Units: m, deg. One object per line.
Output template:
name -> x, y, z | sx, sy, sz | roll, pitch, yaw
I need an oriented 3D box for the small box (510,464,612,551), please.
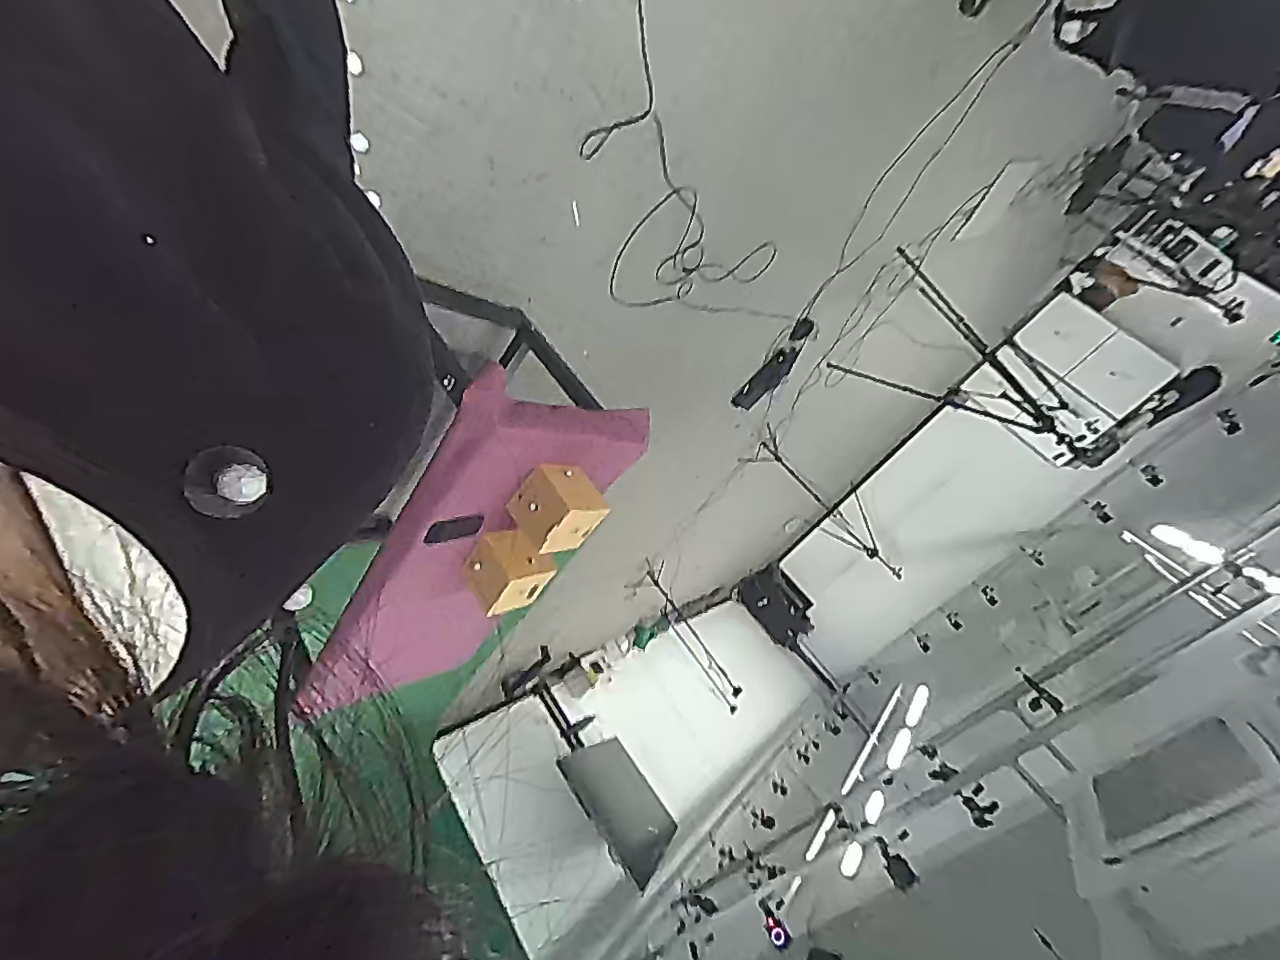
small box -> -0.218, 0.073, 1.467 | 0.168, 0.176, 0.179 | -49, 154, 22

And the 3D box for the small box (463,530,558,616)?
small box -> -0.379, 0.261, 1.571 | 0.179, 0.176, 0.168 | -3, 138, -53
